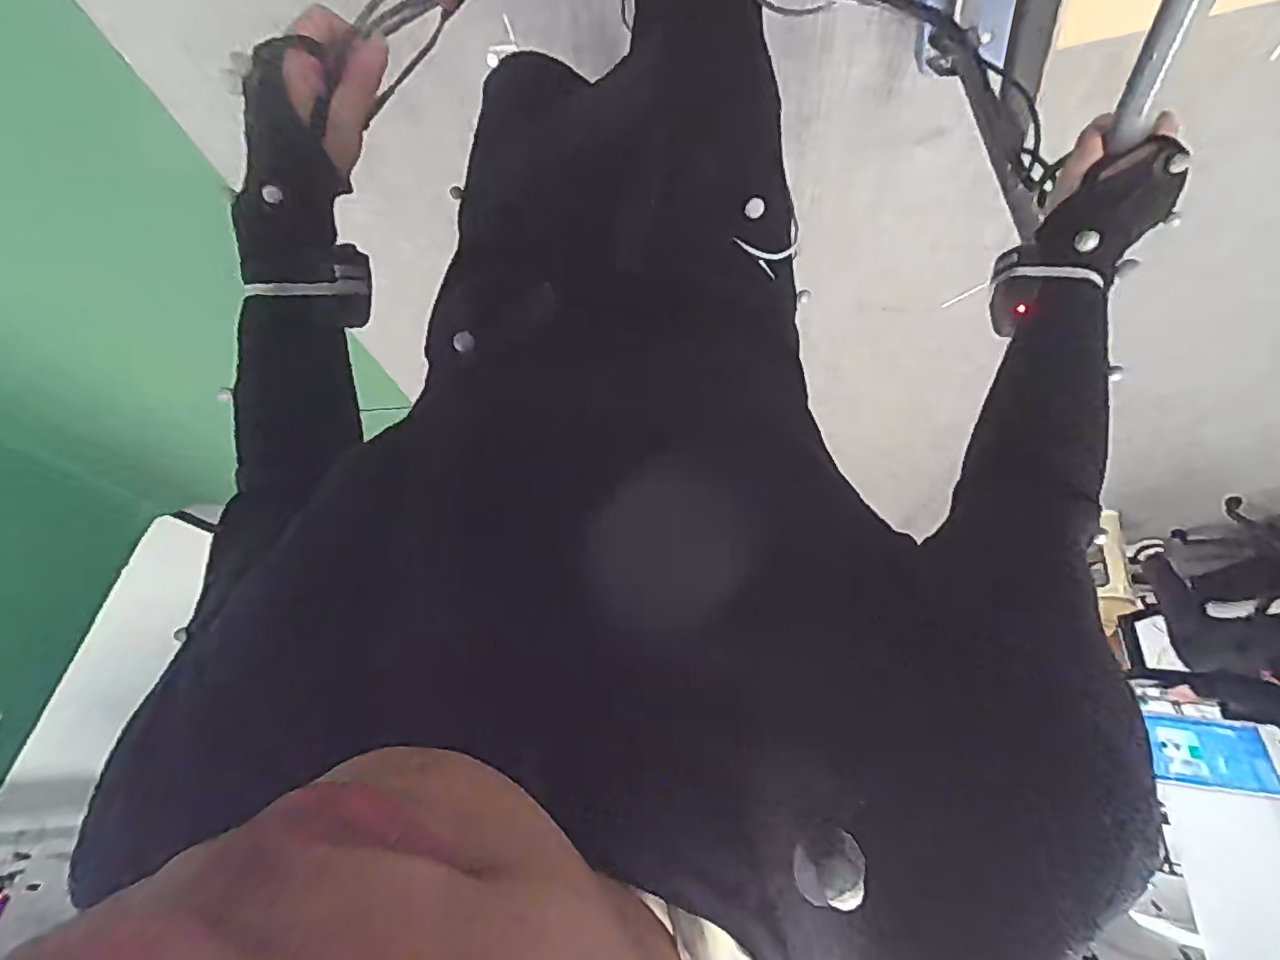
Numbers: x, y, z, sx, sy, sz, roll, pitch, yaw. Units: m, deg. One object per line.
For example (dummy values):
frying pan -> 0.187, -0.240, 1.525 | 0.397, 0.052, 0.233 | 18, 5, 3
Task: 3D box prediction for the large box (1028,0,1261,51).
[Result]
large box -> 0.687, -0.764, 0.581 | 0.408, 0.320, 0.320 | -2, 152, 18
